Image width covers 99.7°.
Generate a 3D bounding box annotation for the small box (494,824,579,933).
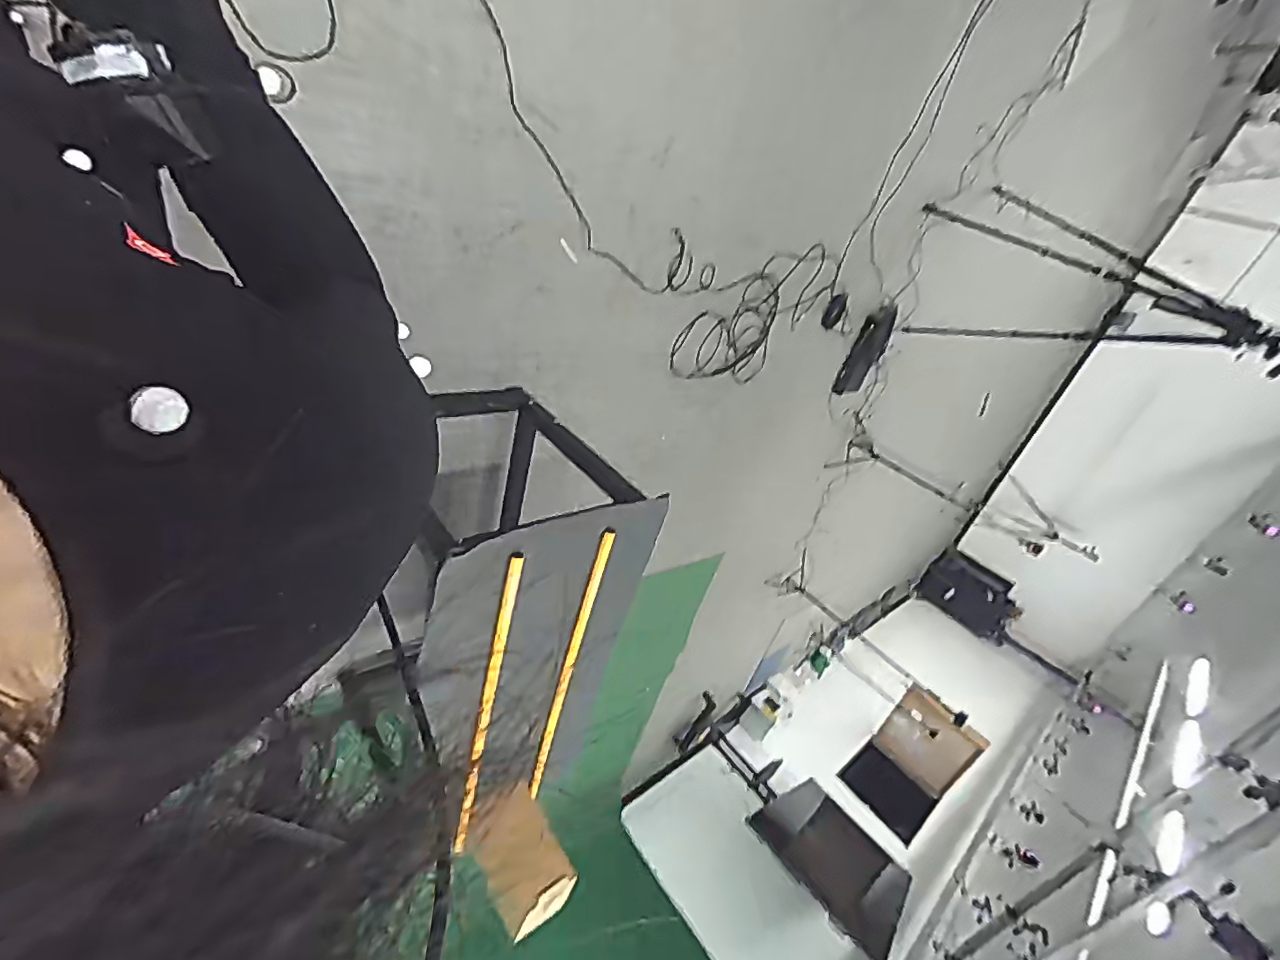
[{"bbox_3d":[-0.308,1.153,1.582,0.168,0.176,0.179,-6,127,-44],"label":"small box"}]
